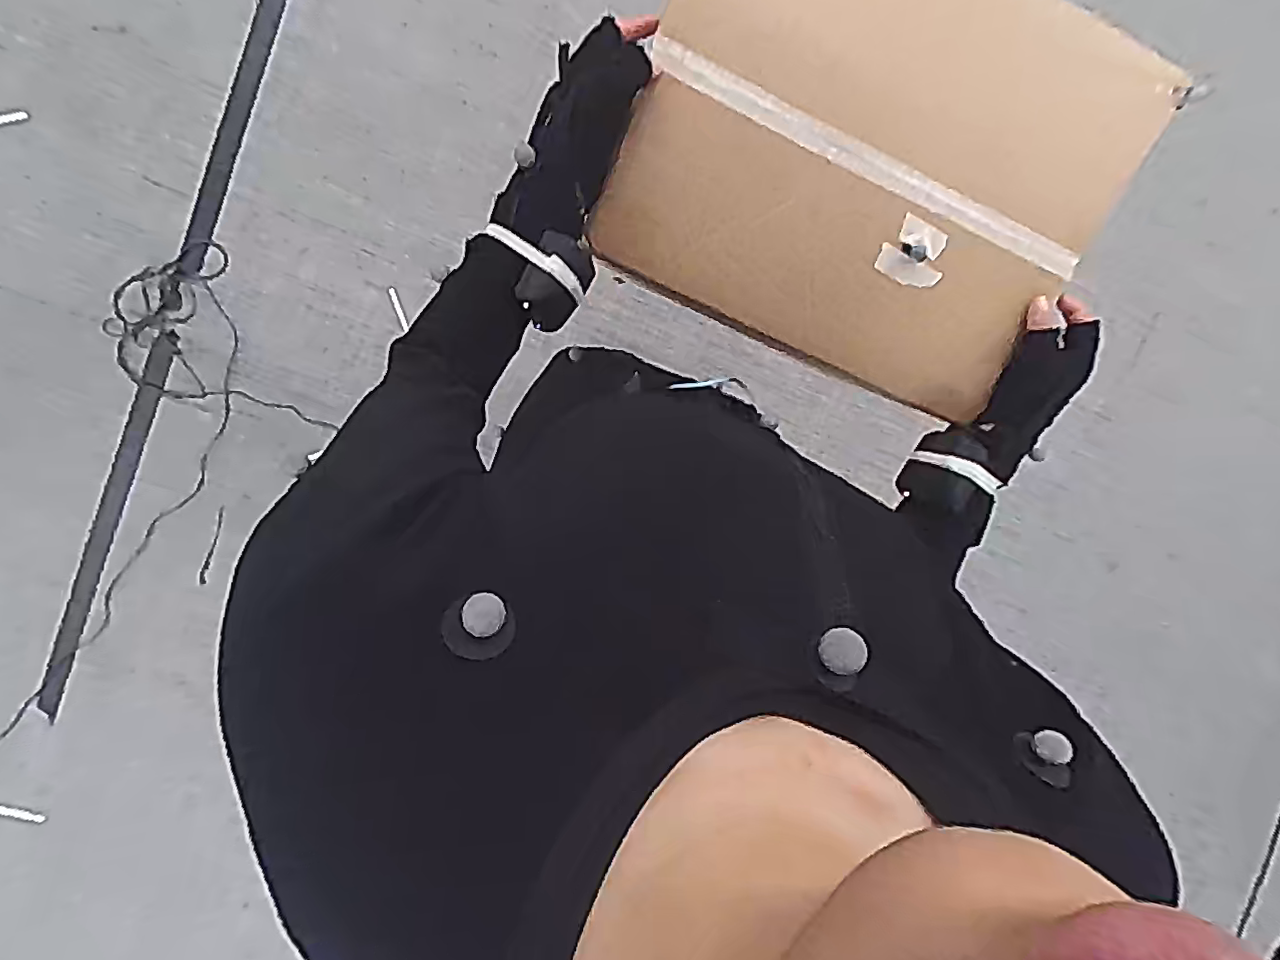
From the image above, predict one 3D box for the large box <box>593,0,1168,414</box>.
[{"bbox_3d":[0.194,-0.317,0.603,0.408,0.320,0.320,23,108,-8],"label":"large box"}]
